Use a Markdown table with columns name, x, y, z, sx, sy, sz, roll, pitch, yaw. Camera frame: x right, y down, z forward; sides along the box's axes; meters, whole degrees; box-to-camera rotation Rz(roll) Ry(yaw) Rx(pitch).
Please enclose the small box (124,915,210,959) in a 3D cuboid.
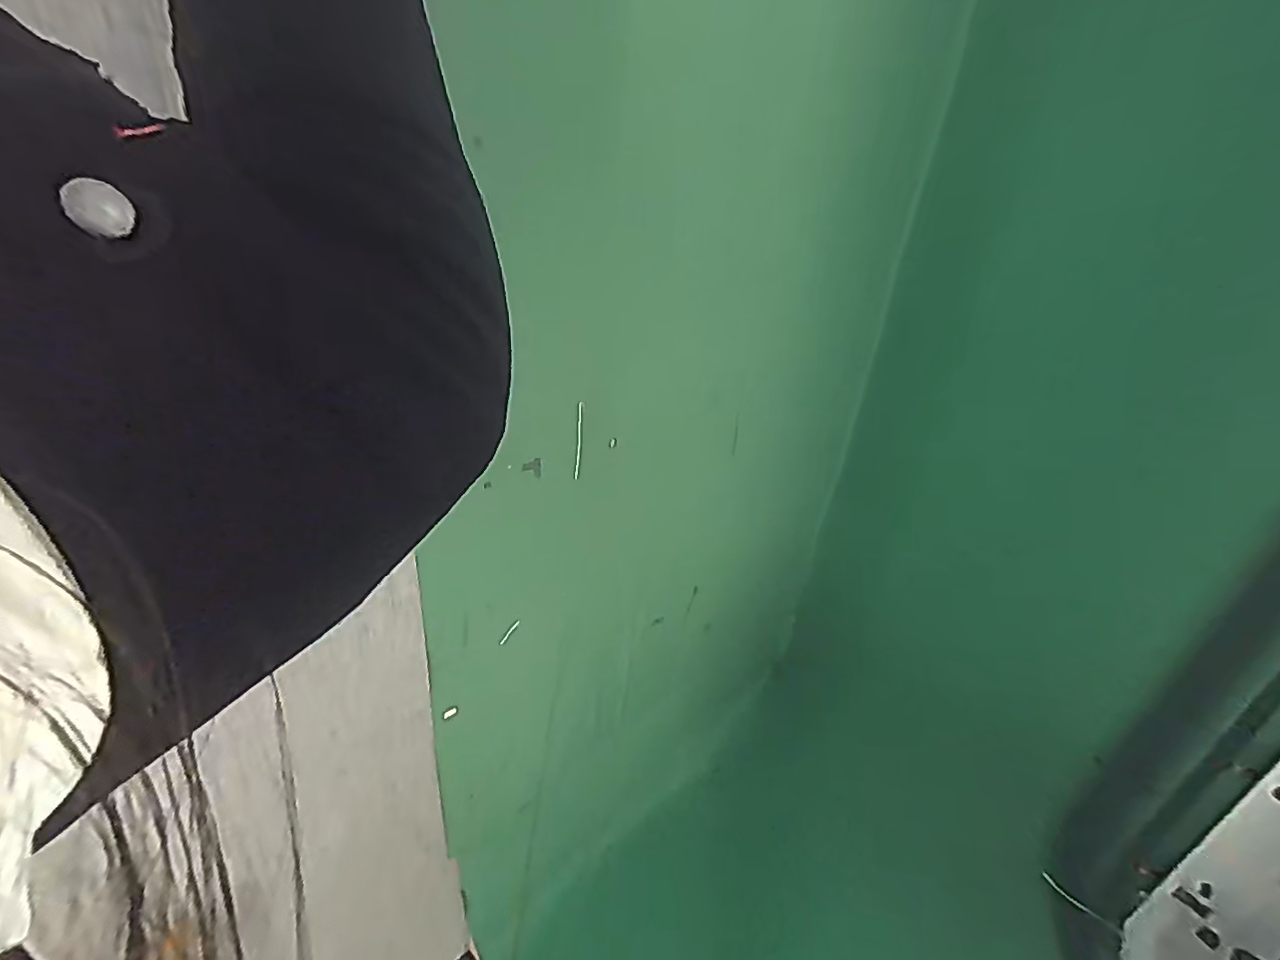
| name | x | y | z | sx | sy | sz | roll | pitch | yaw |
| --- | --- | --- | --- | --- | --- | --- | --- | --- | --- |
| small box | -1.369 | 1.432 | 1.564 | 0.179 | 0.176 | 0.168 | -23 | 129 | -42 |
